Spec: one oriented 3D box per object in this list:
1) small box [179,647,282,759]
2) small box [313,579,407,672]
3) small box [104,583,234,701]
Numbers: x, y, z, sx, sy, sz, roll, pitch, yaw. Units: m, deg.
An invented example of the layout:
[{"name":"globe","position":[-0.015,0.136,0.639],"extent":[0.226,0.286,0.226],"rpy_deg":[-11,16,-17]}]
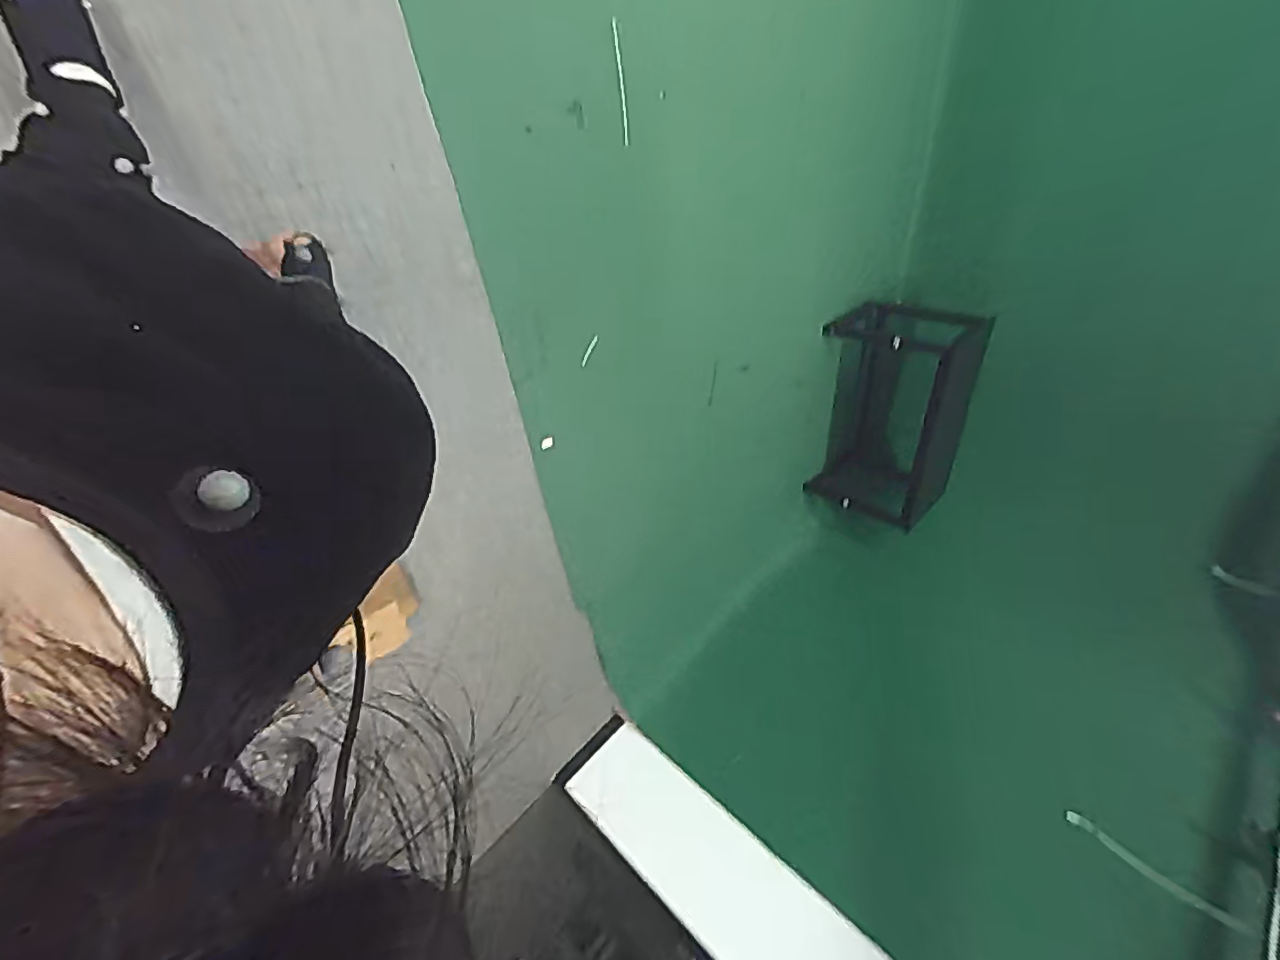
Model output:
[{"name":"small box","position":[-1.071,0.571,1.412],"extent":[0.179,0.176,0.168],"rpy_deg":[-18,124,-41]},{"name":"small box","position":[-0.831,0.424,1.608],"extent":[0.179,0.176,0.168],"rpy_deg":[-29,131,-36]},{"name":"small box","position":[-1.100,0.365,1.262],"extent":[0.168,0.176,0.179],"rpy_deg":[-31,133,-34]}]
